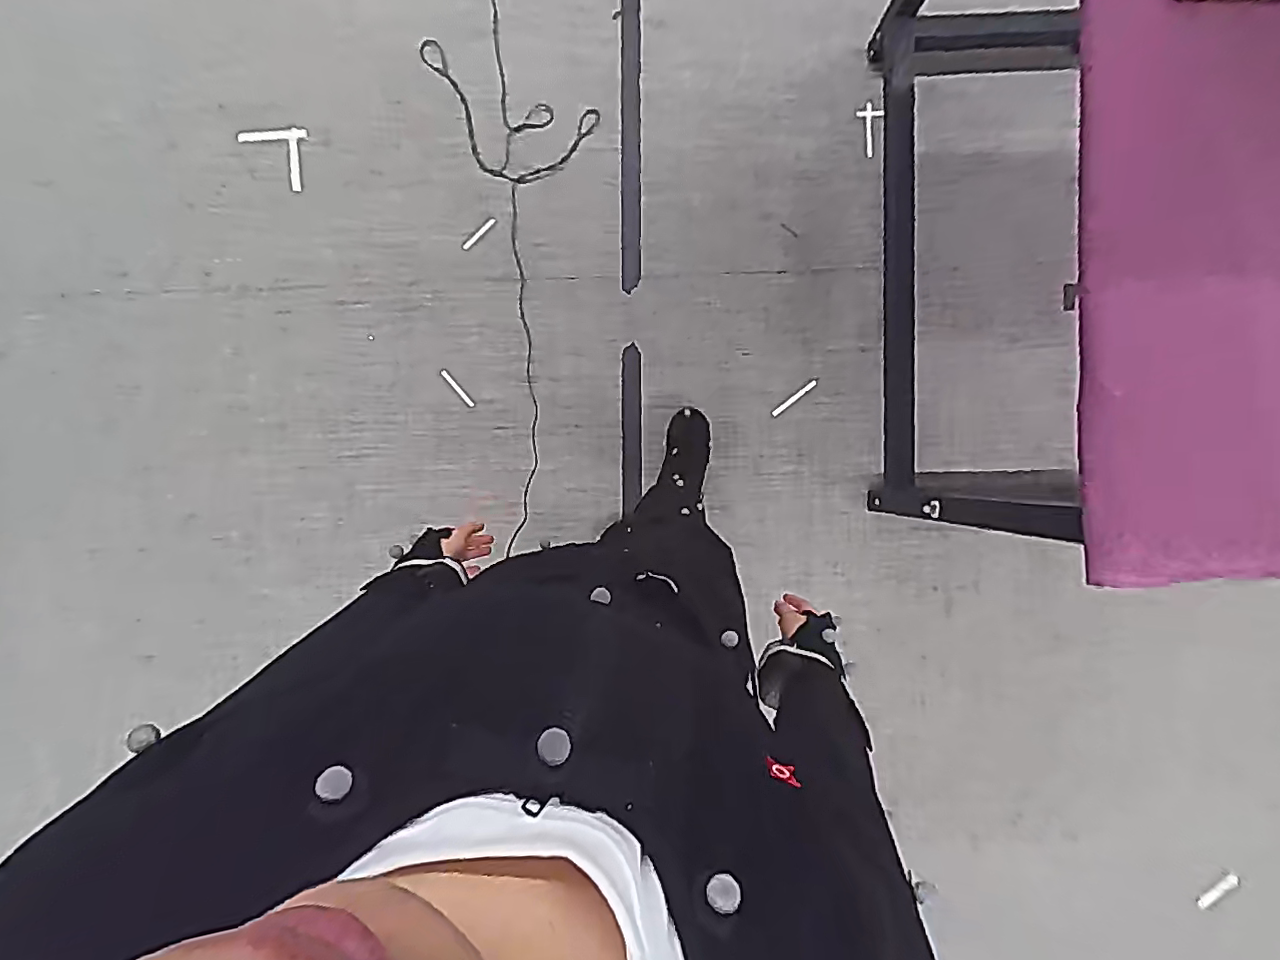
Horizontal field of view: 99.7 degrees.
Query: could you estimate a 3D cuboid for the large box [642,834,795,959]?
[{"bbox_3d":[0.169,1.110,1.239,0.320,0.320,0.408,-2,90,0],"label":"large box"}]
